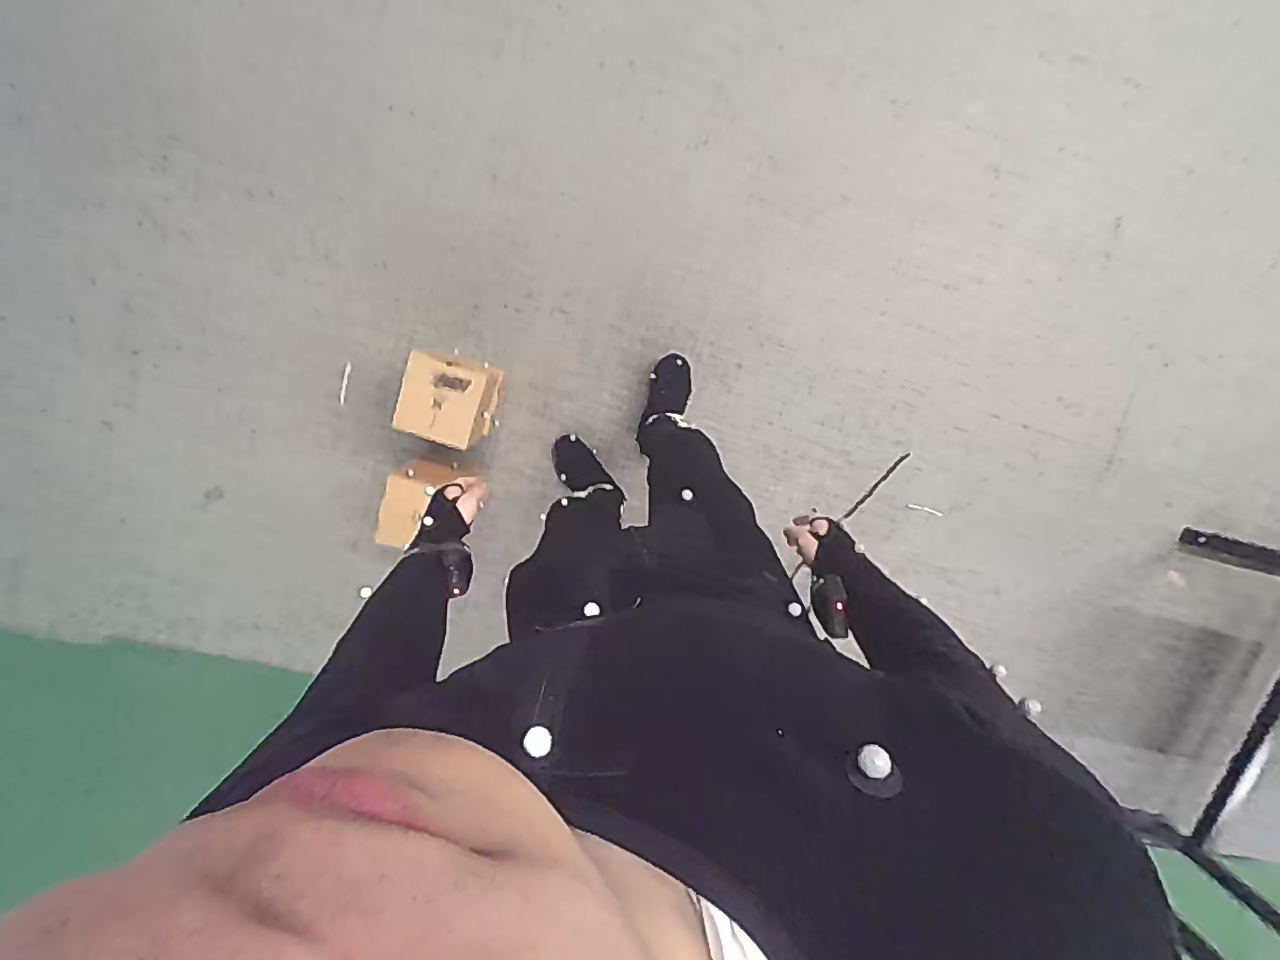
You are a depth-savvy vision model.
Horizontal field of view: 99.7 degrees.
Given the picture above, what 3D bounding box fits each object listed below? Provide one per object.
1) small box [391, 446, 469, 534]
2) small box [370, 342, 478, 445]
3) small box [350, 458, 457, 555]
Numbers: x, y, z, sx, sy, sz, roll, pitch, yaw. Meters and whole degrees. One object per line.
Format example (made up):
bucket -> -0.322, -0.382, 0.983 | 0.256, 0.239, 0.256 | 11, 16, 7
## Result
small box -> -0.568, 0.020, 1.433 | 0.179, 0.176, 0.168 | 18, 100, -11
small box -> -0.478, -0.200, 1.222 | 0.168, 0.176, 0.179 | 19, 101, -10
small box -> -0.548, 0.056, 1.277 | 0.179, 0.176, 0.168 | 16, 101, -10
